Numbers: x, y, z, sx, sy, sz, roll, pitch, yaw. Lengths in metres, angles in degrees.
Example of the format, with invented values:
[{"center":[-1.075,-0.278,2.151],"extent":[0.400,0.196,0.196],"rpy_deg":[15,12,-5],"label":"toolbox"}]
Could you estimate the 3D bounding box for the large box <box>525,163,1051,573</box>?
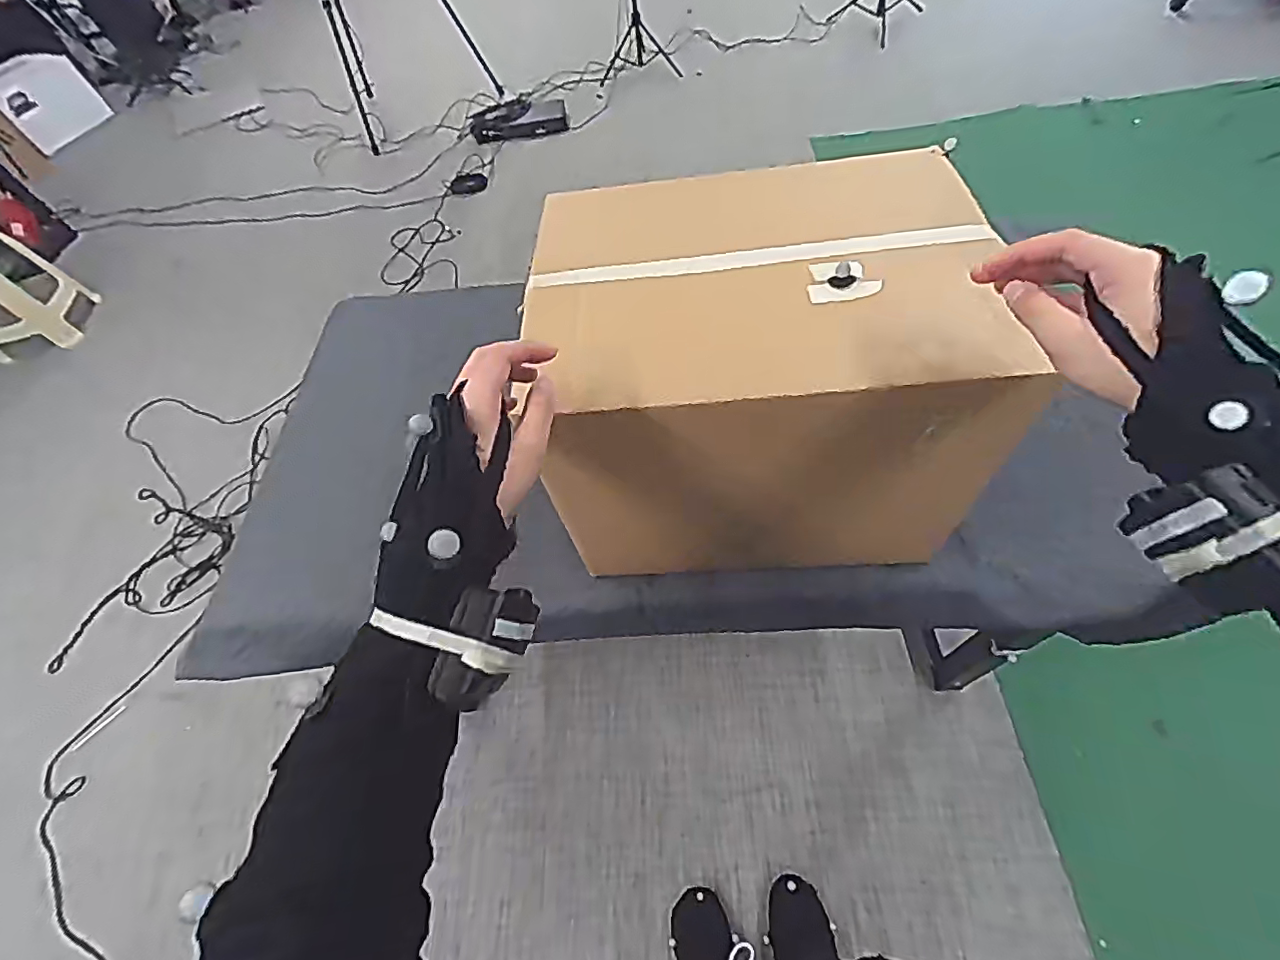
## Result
[{"center":[0.118,-0.105,0.613],"extent":[0.408,0.320,0.320],"rpy_deg":[-4,56,6],"label":"large box"}]
